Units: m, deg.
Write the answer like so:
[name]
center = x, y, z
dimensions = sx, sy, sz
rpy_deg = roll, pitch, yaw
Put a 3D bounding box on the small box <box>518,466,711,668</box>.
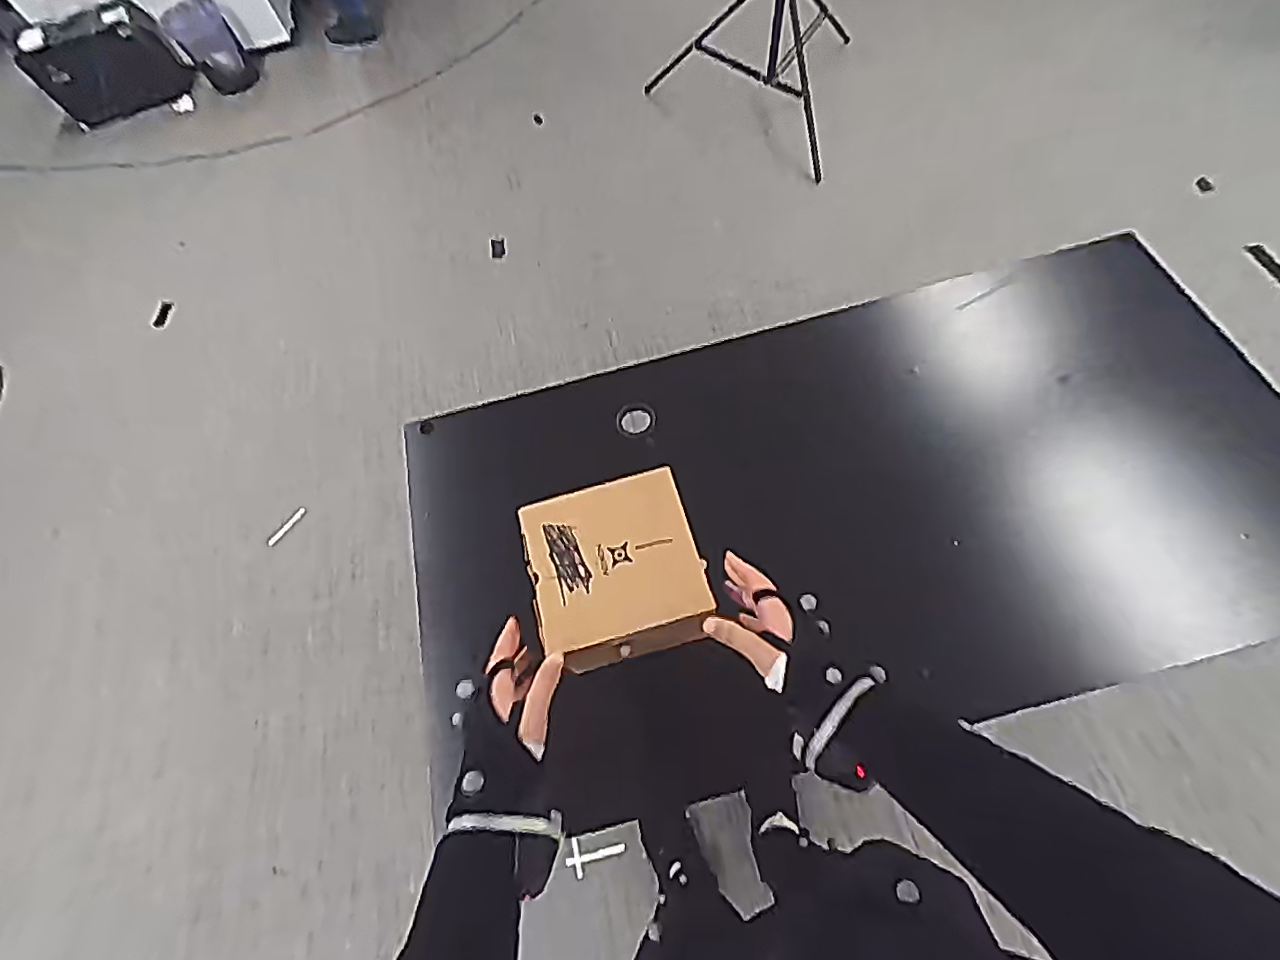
[small box]
center = -0.024, 0.110, 0.630
dimensions = 0.179, 0.176, 0.168
rpy_deg = -15, 65, -2
